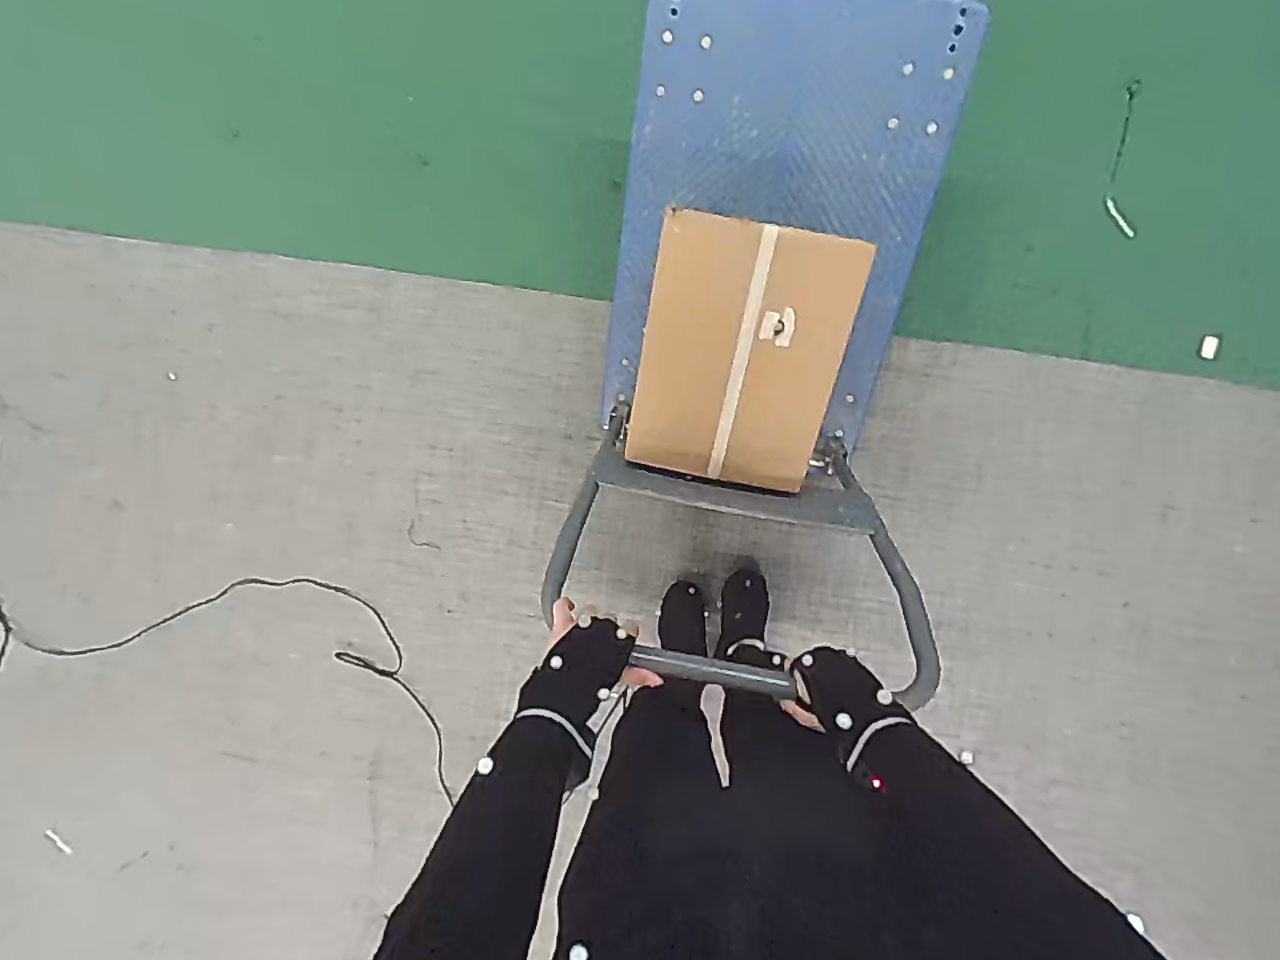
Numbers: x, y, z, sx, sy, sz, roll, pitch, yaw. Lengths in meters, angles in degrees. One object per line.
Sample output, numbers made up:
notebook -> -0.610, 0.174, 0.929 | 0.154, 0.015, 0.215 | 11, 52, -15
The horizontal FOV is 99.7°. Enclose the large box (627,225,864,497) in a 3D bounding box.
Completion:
large box -> 0.173, -0.228, 1.018 | 0.320, 0.320, 0.408 | 11, 112, 2
